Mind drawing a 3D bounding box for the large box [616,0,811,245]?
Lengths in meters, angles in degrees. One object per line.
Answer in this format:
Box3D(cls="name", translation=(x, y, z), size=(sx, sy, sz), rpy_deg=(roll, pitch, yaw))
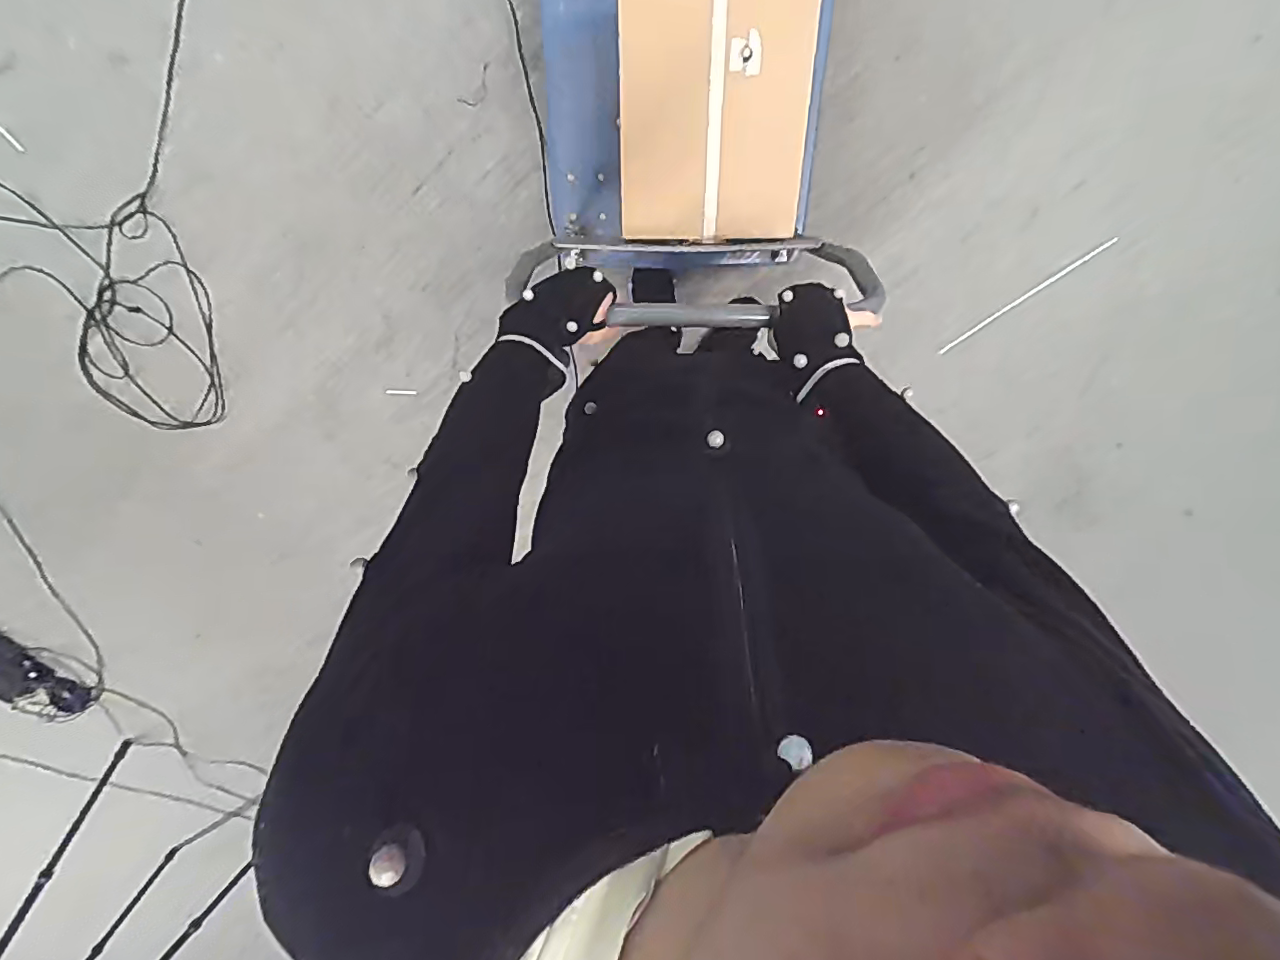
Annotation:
Box3D(cls="large box", translation=(0.125, -0.683, 1.051), size=(0.320, 0.320, 0.408), rpy_deg=(1, 116, 1))
